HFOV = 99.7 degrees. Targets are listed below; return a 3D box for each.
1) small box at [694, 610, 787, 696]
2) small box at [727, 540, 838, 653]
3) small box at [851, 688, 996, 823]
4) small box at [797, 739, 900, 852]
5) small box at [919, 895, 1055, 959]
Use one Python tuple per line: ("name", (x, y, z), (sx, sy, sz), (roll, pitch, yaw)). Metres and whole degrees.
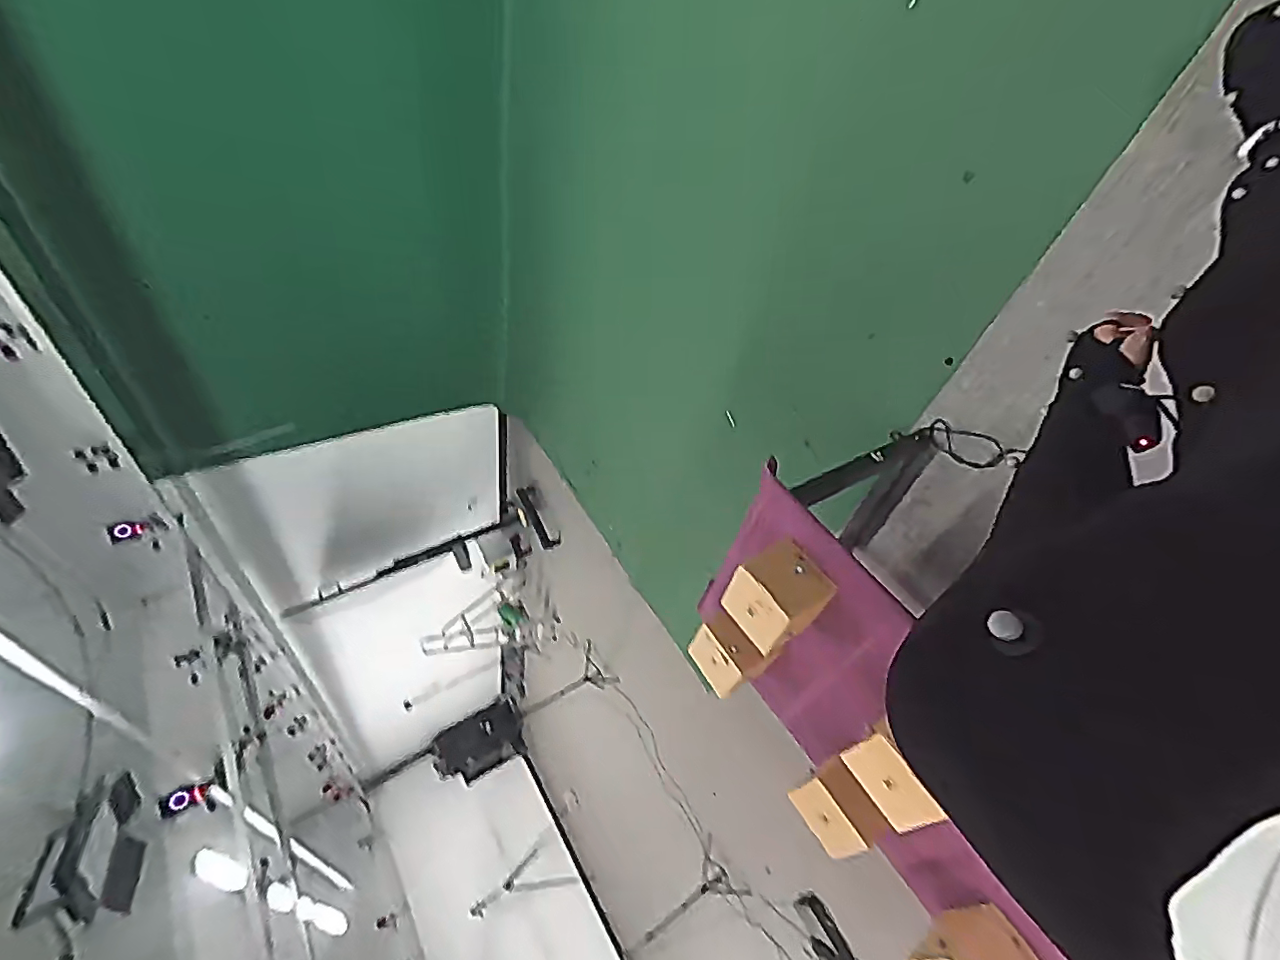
("small box", (0.285, 0.473, 1.533), (0.168, 0.176, 0.179), (49, 145, 28))
("small box", (0.343, 0.277, 1.306), (0.168, 0.176, 0.179), (48, 144, 29))
("small box", (0.582, 0.564, 1.115), (0.168, 0.176, 0.179), (51, 147, 28))
("small box", (0.531, 0.774, 1.334), (0.168, 0.176, 0.179), (51, 145, 26))
("small box", (0.744, 1.020, 1.142), (0.168, 0.176, 0.179), (51, 145, 28))
